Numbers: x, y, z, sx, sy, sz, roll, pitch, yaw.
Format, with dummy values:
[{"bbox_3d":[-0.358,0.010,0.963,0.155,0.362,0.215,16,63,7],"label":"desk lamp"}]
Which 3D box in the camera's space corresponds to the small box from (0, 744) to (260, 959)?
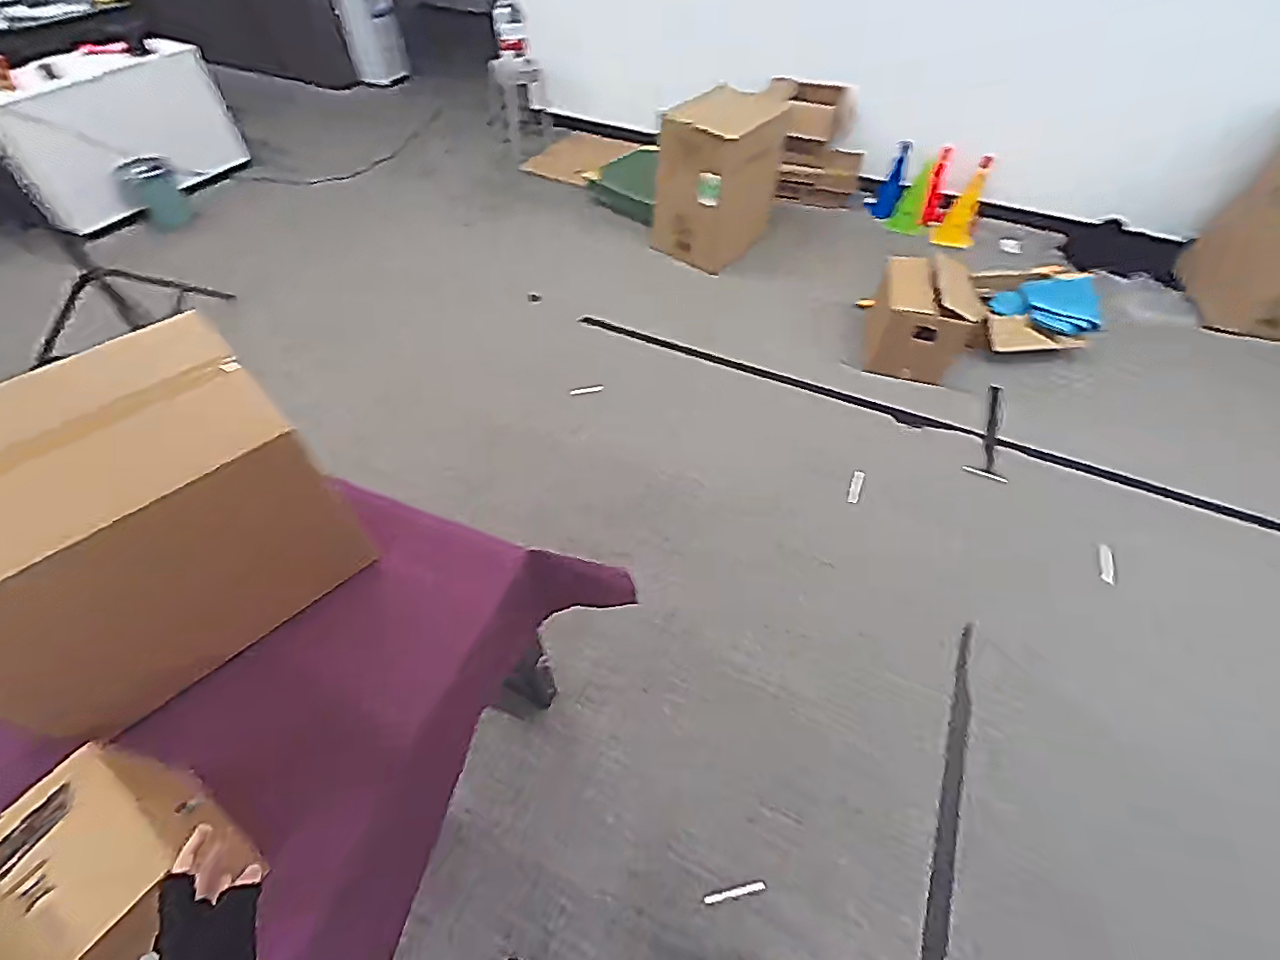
[{"bbox_3d":[-0.536,0.405,0.535,0.179,0.176,0.168,29,56,20],"label":"small box"}]
